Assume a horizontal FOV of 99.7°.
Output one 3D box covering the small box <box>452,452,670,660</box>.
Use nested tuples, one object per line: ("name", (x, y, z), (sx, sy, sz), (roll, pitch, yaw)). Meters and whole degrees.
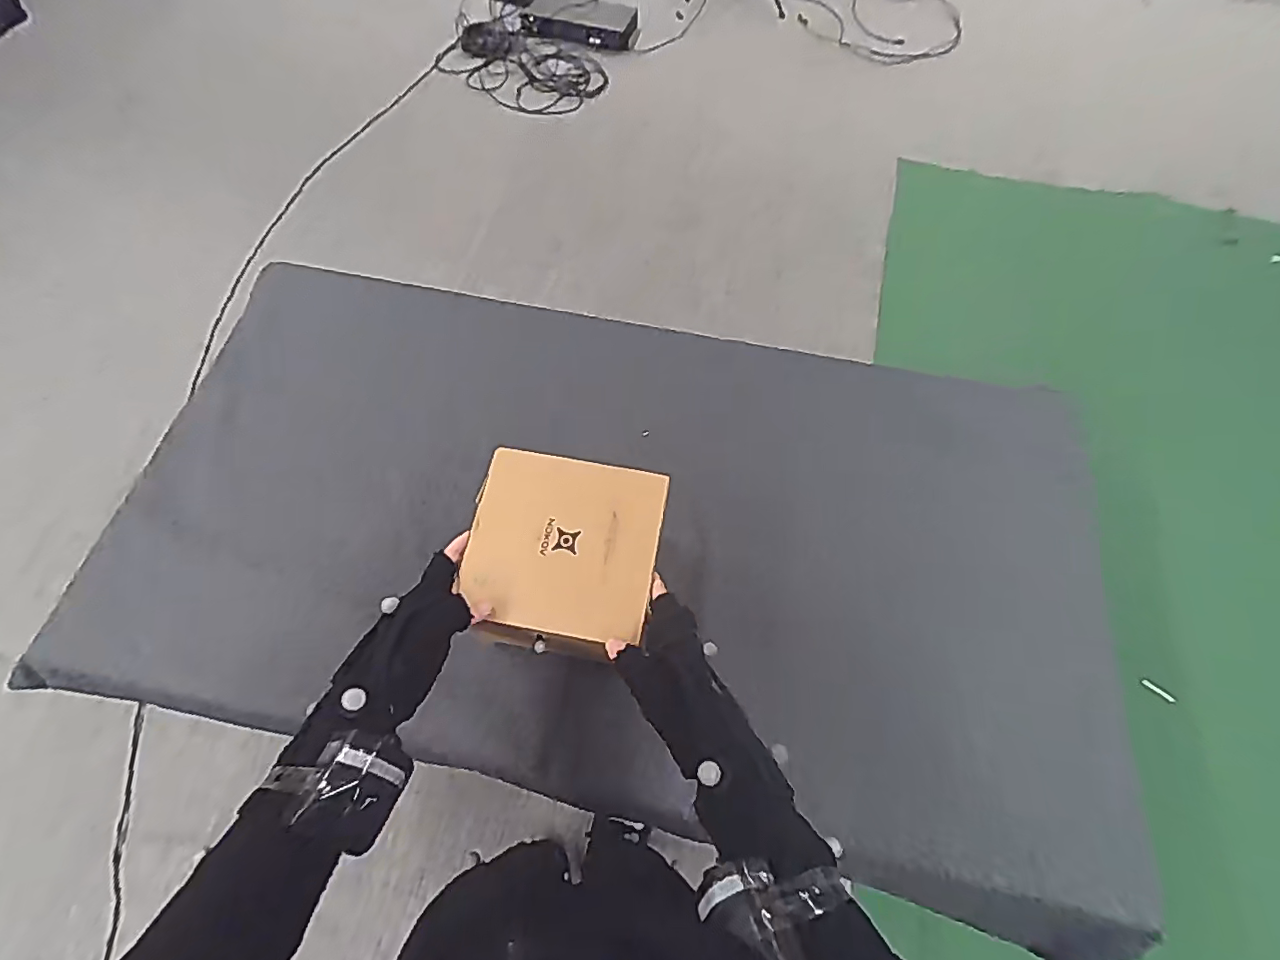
("small box", (-0.070, 0.090, 0.574), (0.179, 0.176, 0.168), (9, 67, 2))
